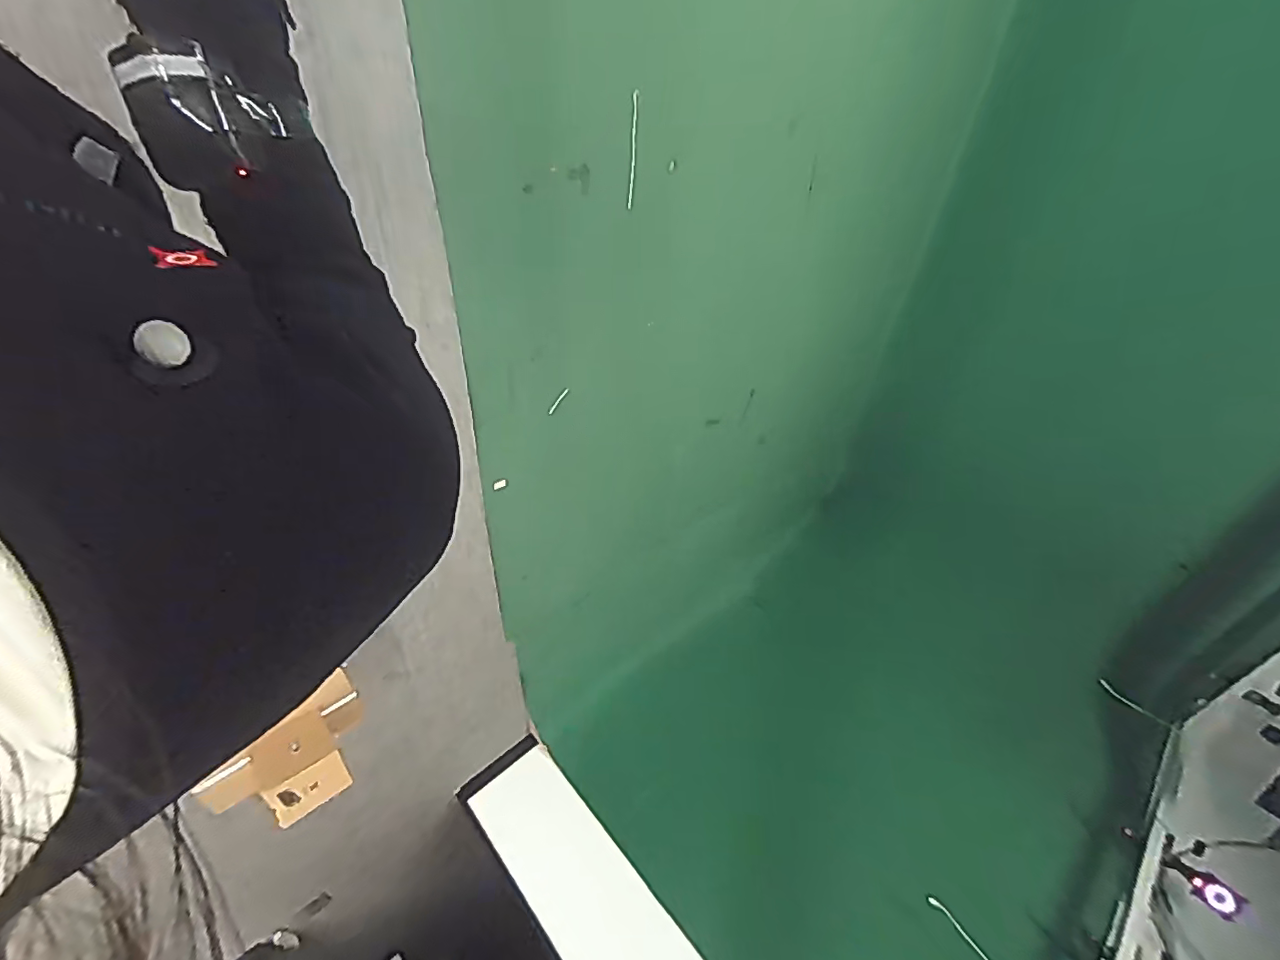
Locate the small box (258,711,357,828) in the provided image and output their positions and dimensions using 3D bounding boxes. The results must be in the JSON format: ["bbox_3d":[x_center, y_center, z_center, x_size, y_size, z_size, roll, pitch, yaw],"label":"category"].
[{"bbox_3d":[-0.889,0.764,1.441,0.179,0.176,0.168,-23,131,-38],"label":"small box"}]
